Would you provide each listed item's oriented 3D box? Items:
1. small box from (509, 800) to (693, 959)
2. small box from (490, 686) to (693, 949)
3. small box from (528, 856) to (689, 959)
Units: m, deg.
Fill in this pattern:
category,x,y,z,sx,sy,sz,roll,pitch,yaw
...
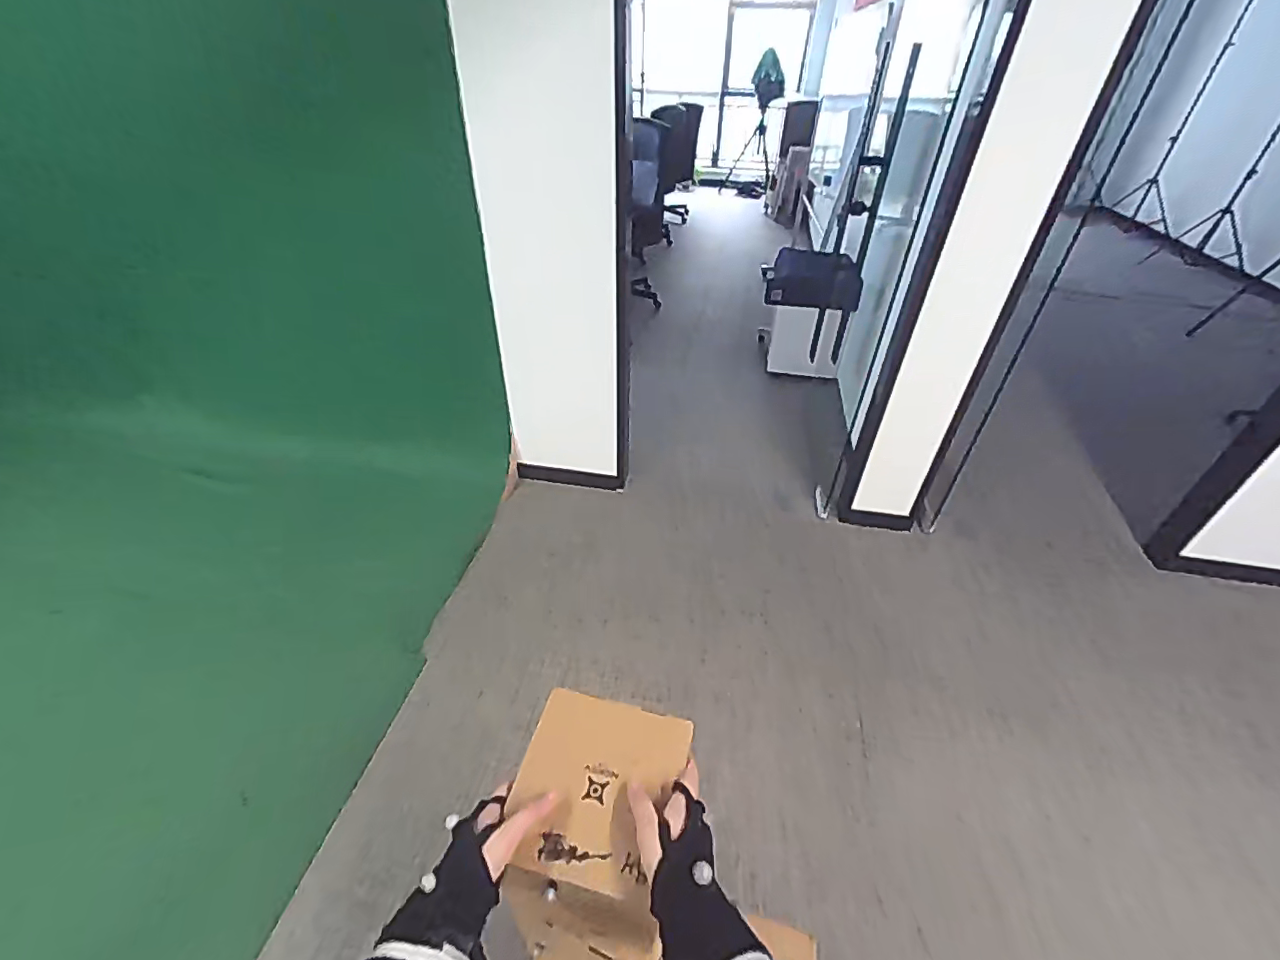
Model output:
category,x,y,z,sx,sy,sz,roll,pitch,yaw
small box,-0.041,0.500,0.690,0.168,0.176,0.179,16,39,18
small box,-0.042,0.365,0.593,0.168,0.176,0.179,9,39,11
small box,-0.042,0.631,0.791,0.179,0.176,0.168,16,41,16
